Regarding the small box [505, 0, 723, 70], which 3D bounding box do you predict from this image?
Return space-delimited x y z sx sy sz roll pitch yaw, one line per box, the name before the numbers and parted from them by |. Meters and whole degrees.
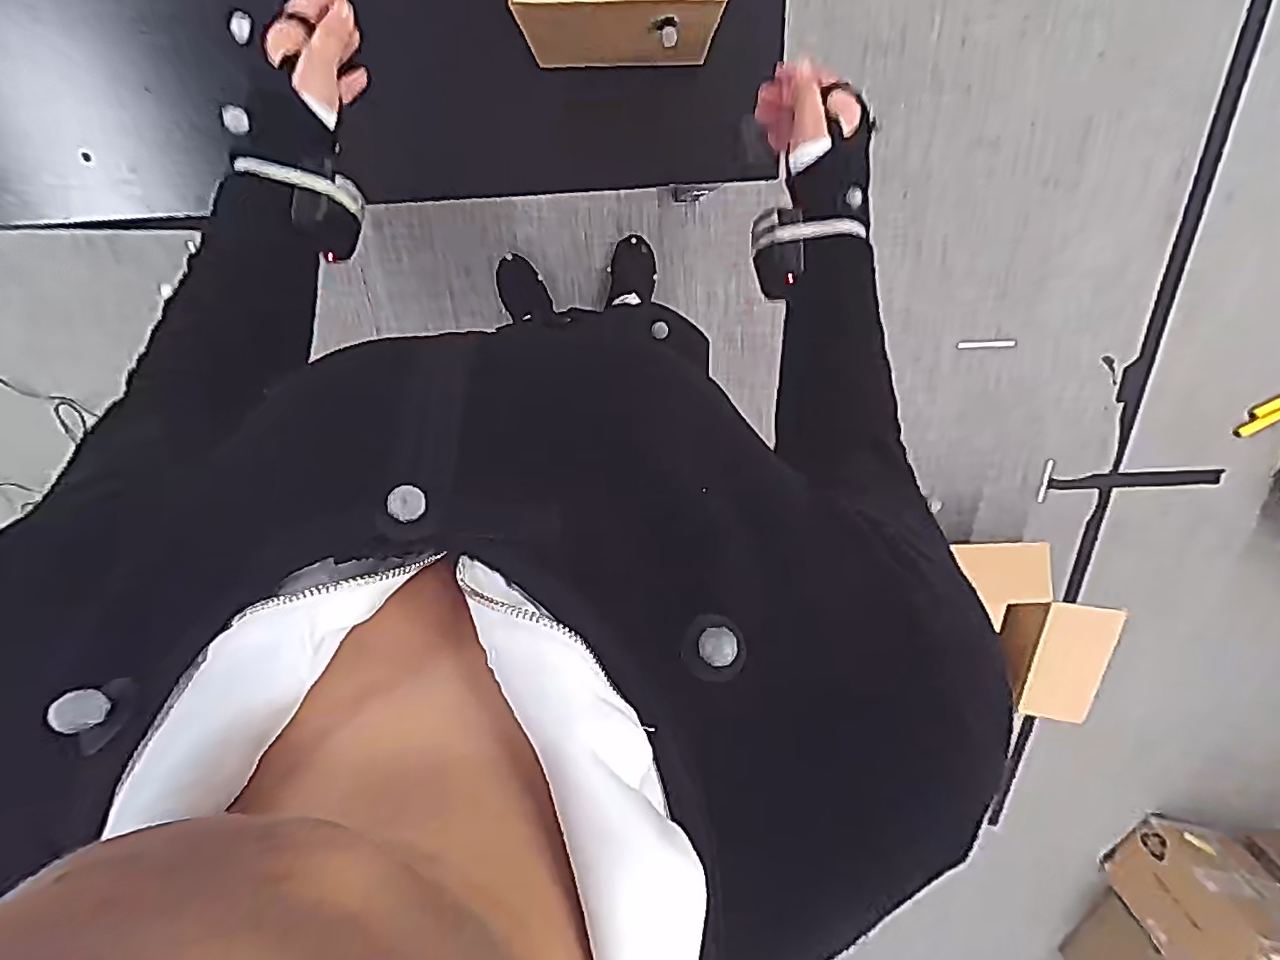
small box | -0.023 -0.482 0.471 0.179 0.176 0.168 -1 113 0
